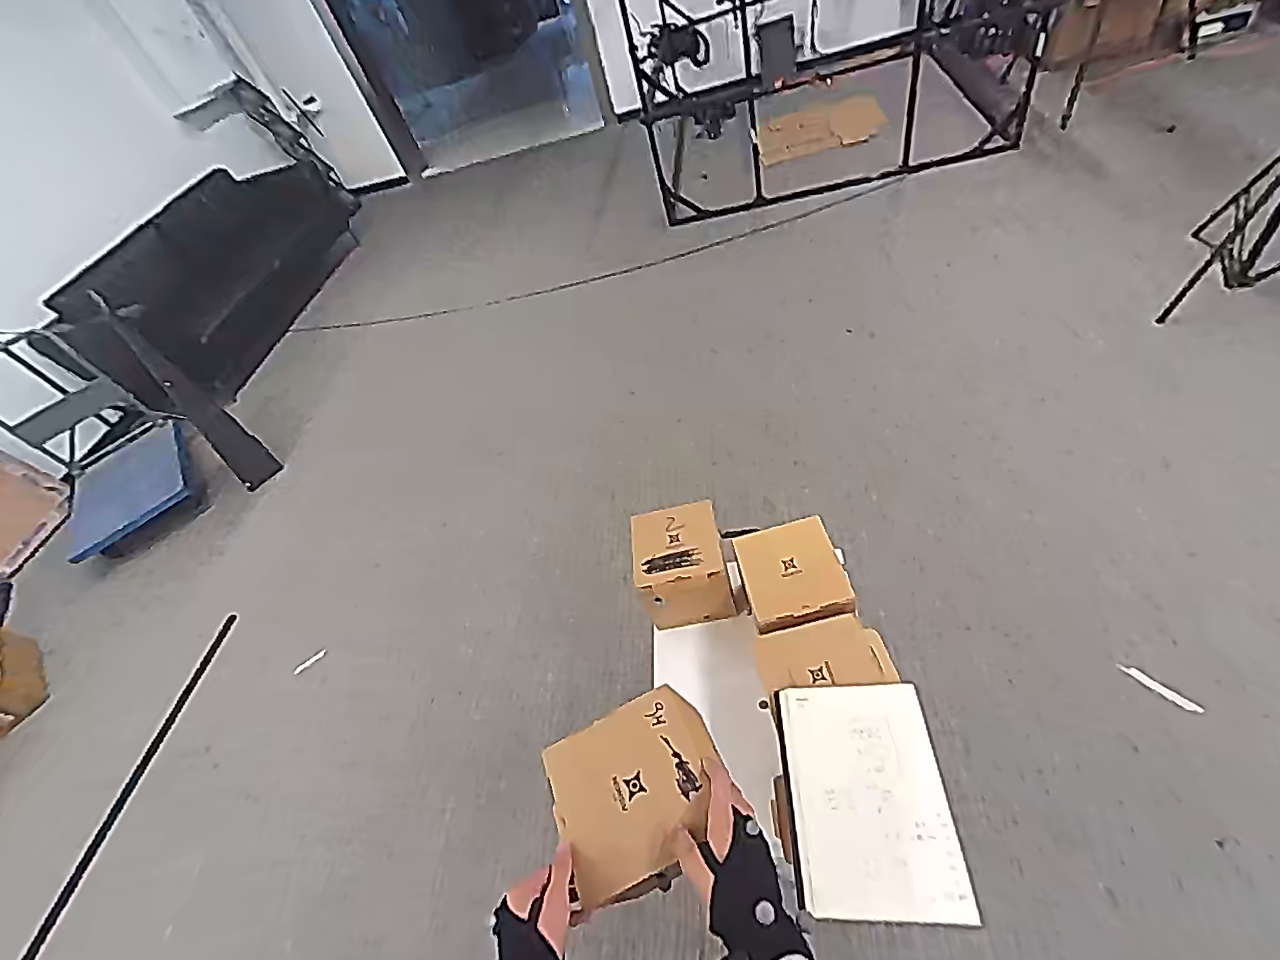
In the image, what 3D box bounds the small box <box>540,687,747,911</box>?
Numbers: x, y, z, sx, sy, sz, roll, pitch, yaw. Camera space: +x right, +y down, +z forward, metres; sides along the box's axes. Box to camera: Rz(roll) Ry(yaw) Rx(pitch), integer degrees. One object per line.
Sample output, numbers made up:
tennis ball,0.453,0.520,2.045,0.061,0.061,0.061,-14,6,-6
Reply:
small box,0.009,0.385,0.657,0.179,0.176,0.168,-29,53,1
